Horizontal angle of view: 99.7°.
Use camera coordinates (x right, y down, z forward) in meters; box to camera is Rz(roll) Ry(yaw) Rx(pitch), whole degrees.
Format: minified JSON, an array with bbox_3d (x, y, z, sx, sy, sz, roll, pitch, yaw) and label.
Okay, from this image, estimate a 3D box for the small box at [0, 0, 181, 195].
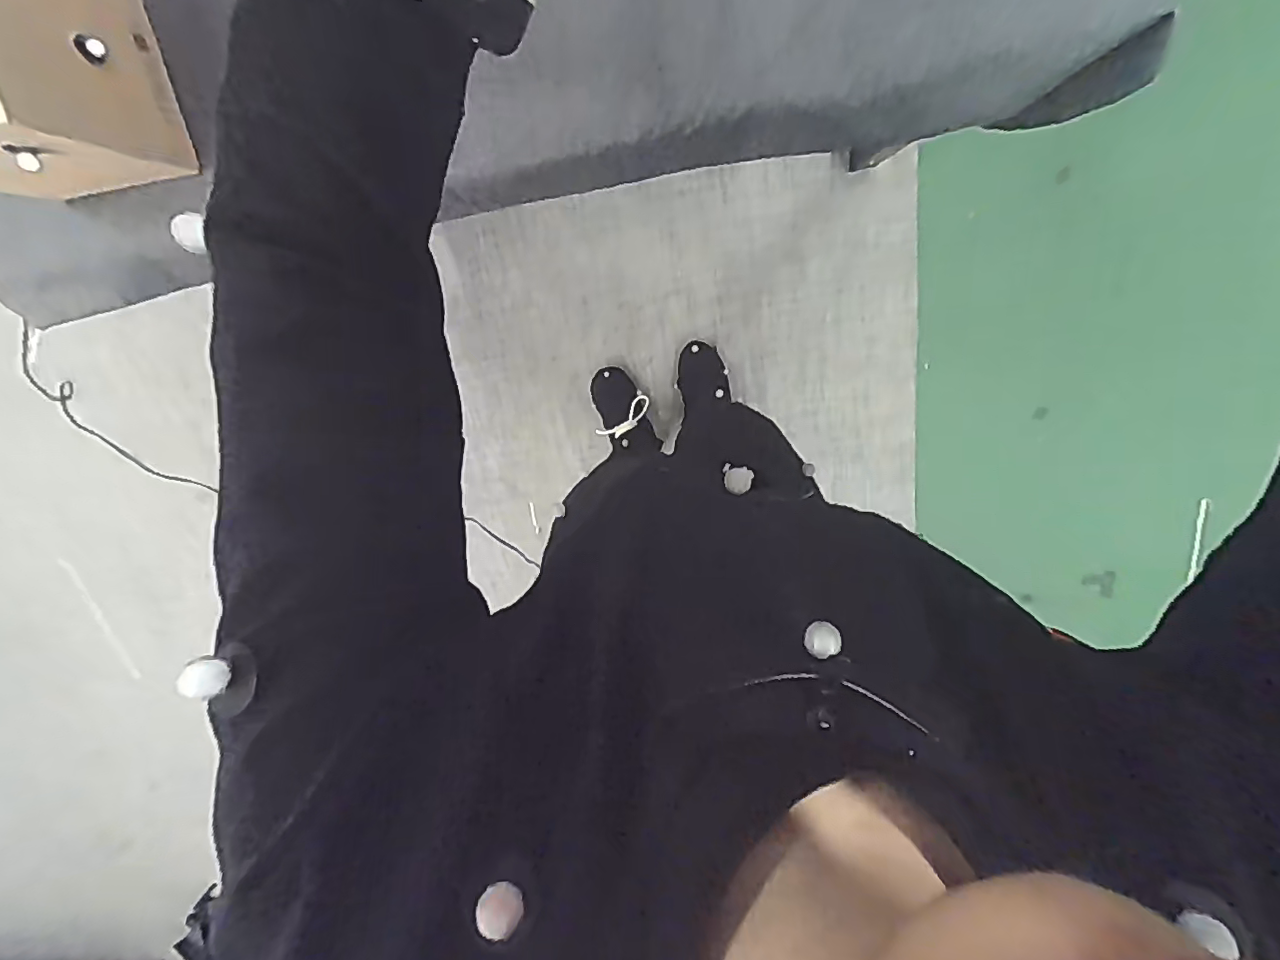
[{"bbox_3d":[-0.546,-0.355,0.457,0.179,0.176,0.168,-6,108,7],"label":"small box"}]
